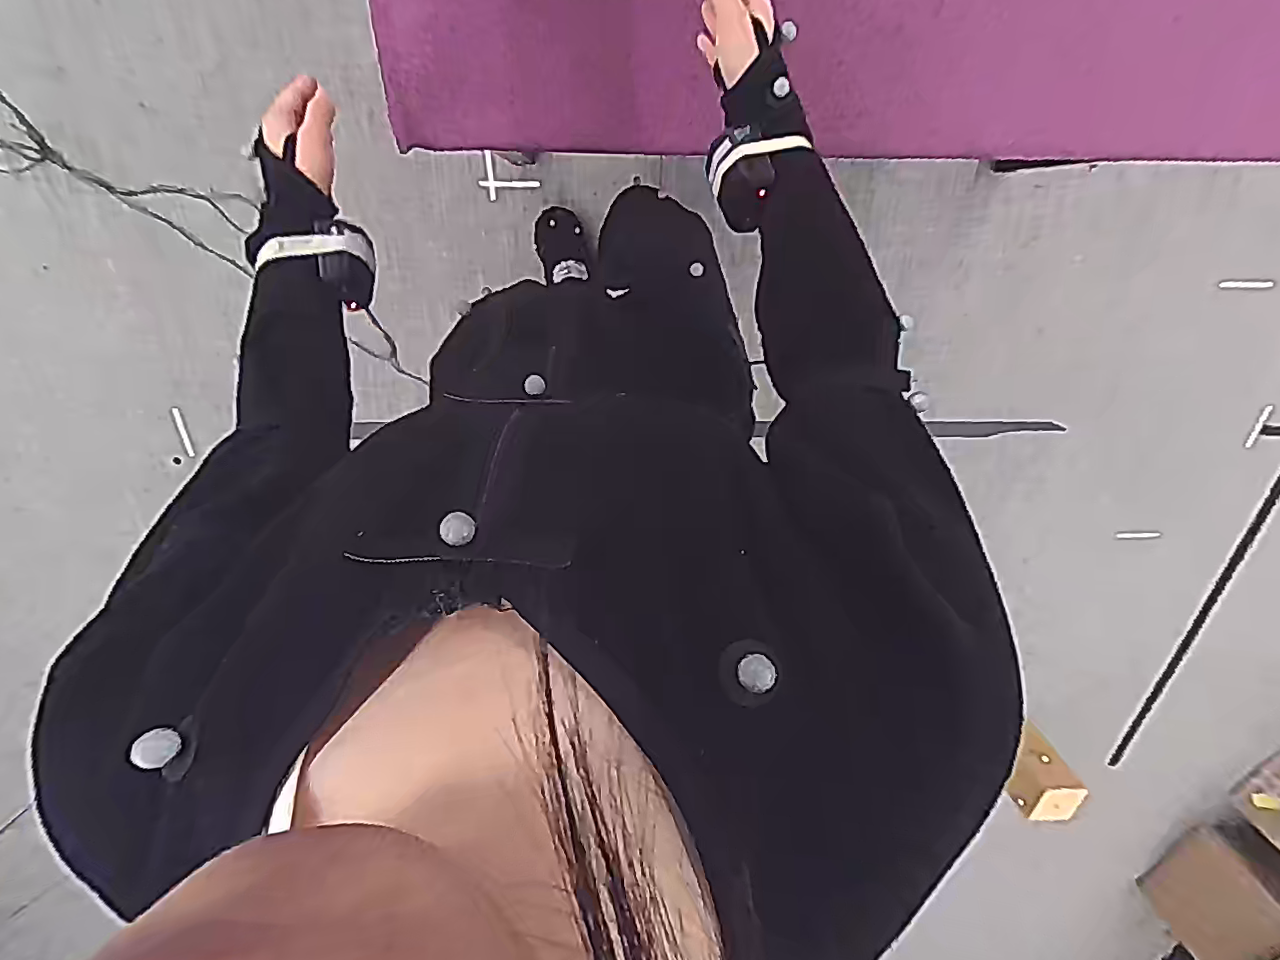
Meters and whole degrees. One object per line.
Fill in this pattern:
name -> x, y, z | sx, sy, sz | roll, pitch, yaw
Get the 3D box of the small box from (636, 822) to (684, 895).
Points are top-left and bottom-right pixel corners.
small box -> 0.076, 1.430, 2.055 | 0.168, 0.176, 0.179 | -4, 117, -2

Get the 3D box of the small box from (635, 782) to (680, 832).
small box -> 0.069, 1.356, 2.202 | 0.168, 0.176, 0.179 | -5, 118, -1

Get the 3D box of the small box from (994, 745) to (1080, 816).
small box -> 1.461, 1.114, 2.007 | 0.168, 0.176, 0.179 | 2, 116, -6
